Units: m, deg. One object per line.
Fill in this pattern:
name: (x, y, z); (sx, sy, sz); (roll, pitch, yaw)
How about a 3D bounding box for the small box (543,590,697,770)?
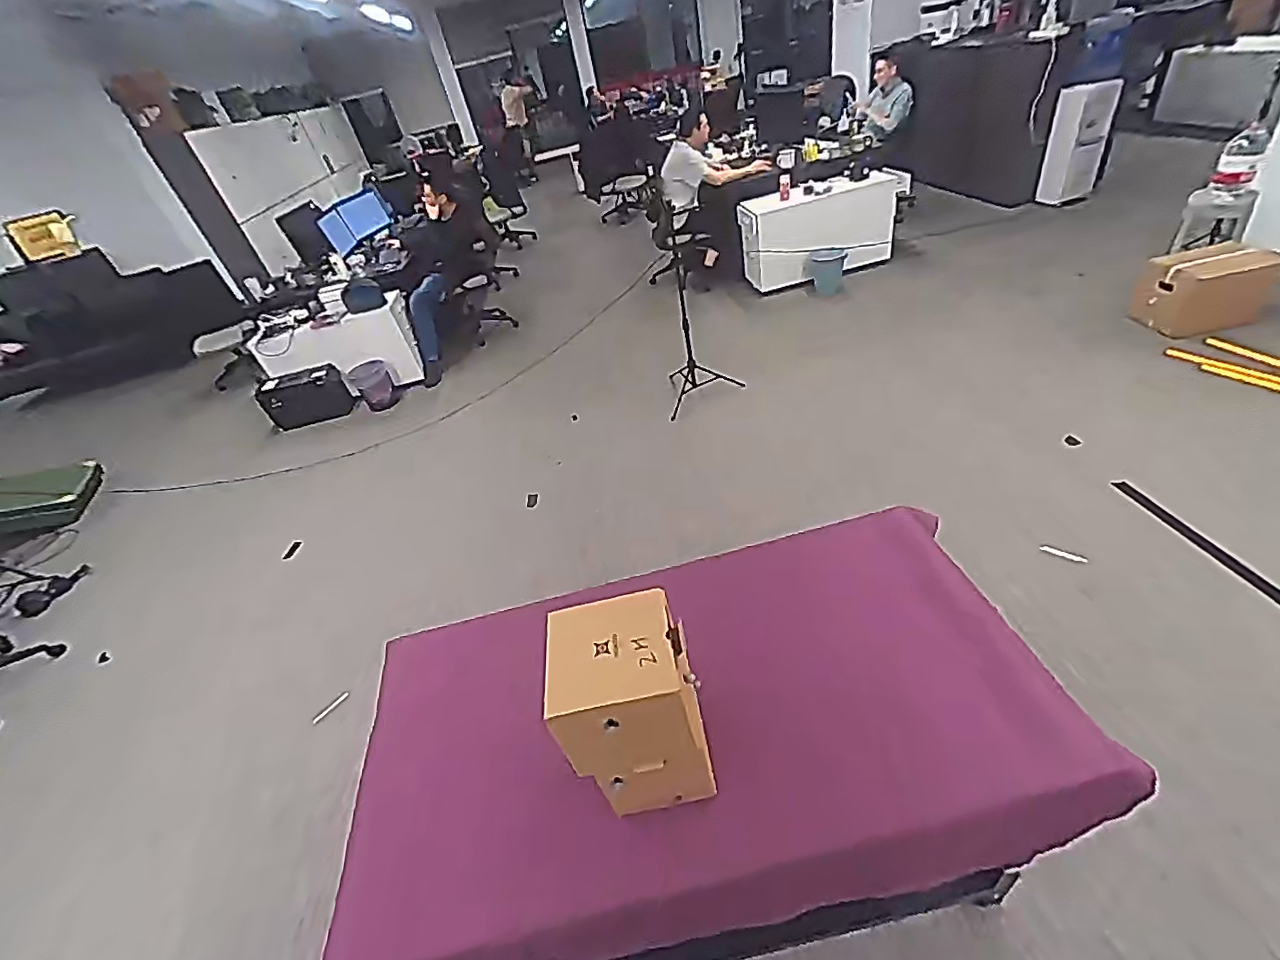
small box: (-0.027, 0.289, 0.775); (0.179, 0.176, 0.168); (-12, 38, 2)
